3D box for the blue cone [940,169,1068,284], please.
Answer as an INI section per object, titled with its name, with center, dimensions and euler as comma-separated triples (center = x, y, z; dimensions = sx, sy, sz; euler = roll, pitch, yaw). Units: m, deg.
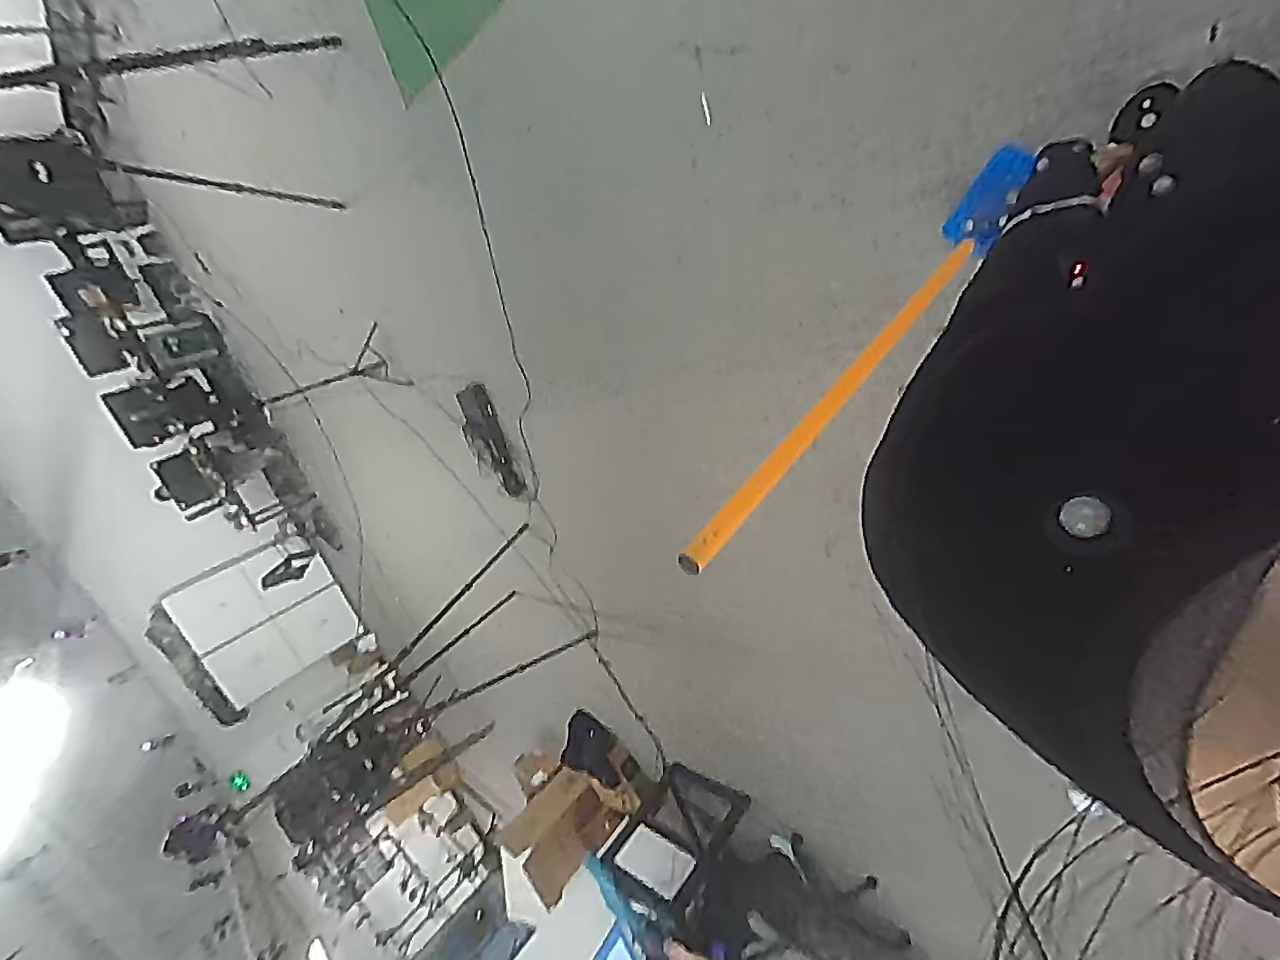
[blue cone]
center = 0.675, -0.463, 1.066
dimensions = 0.192, 0.380, 0.193
euler = 40, 141, 17
